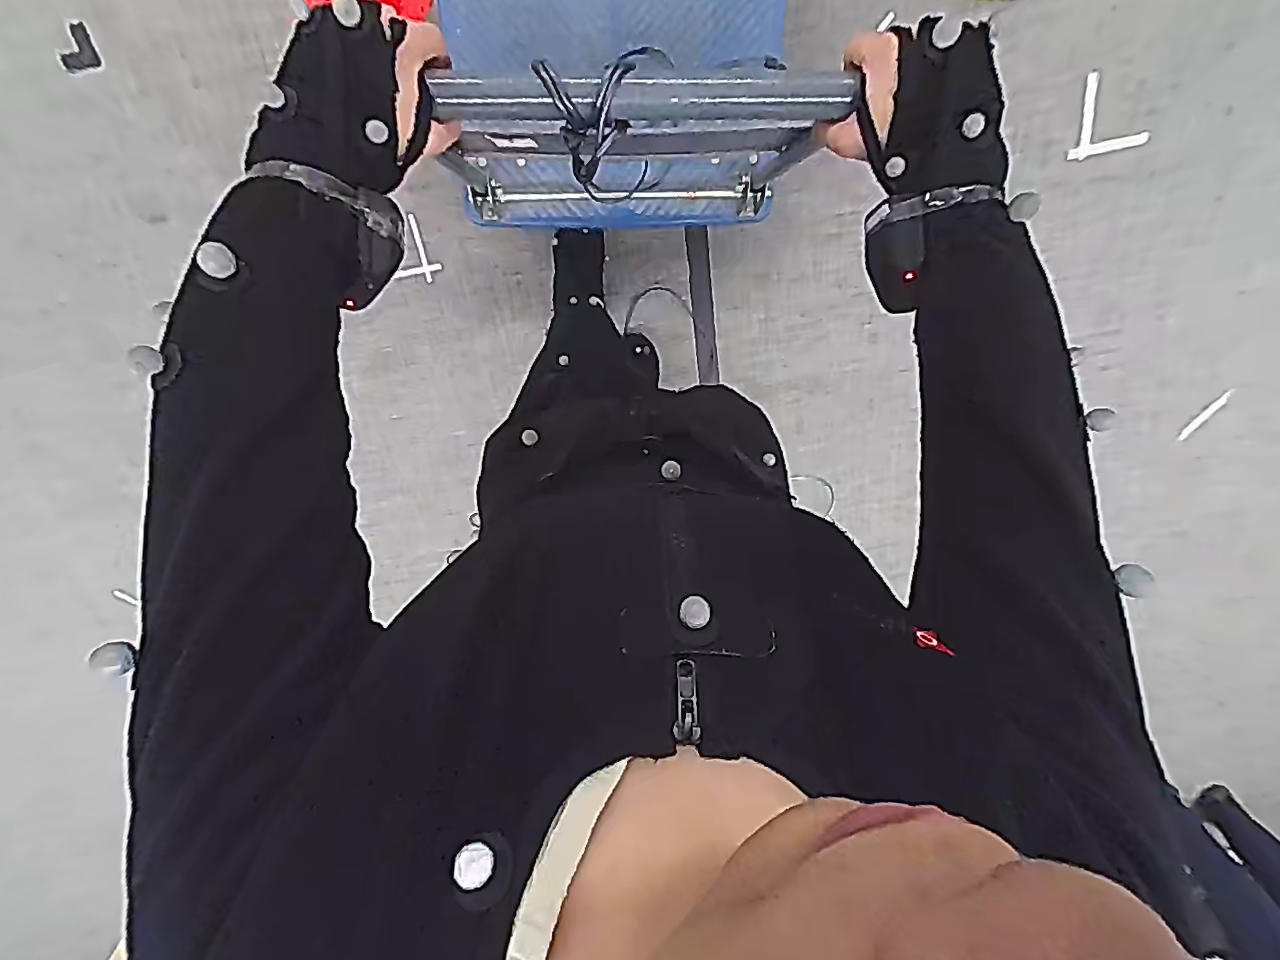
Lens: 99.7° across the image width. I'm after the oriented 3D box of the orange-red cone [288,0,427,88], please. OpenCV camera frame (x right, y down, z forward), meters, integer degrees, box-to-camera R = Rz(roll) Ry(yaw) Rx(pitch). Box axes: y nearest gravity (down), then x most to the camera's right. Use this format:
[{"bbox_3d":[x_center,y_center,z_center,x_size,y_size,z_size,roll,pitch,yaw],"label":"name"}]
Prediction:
[{"bbox_3d":[-0.504,-0.808,0.839,0.198,0.360,0.199,33,105,-17],"label":"orange-red cone"}]
